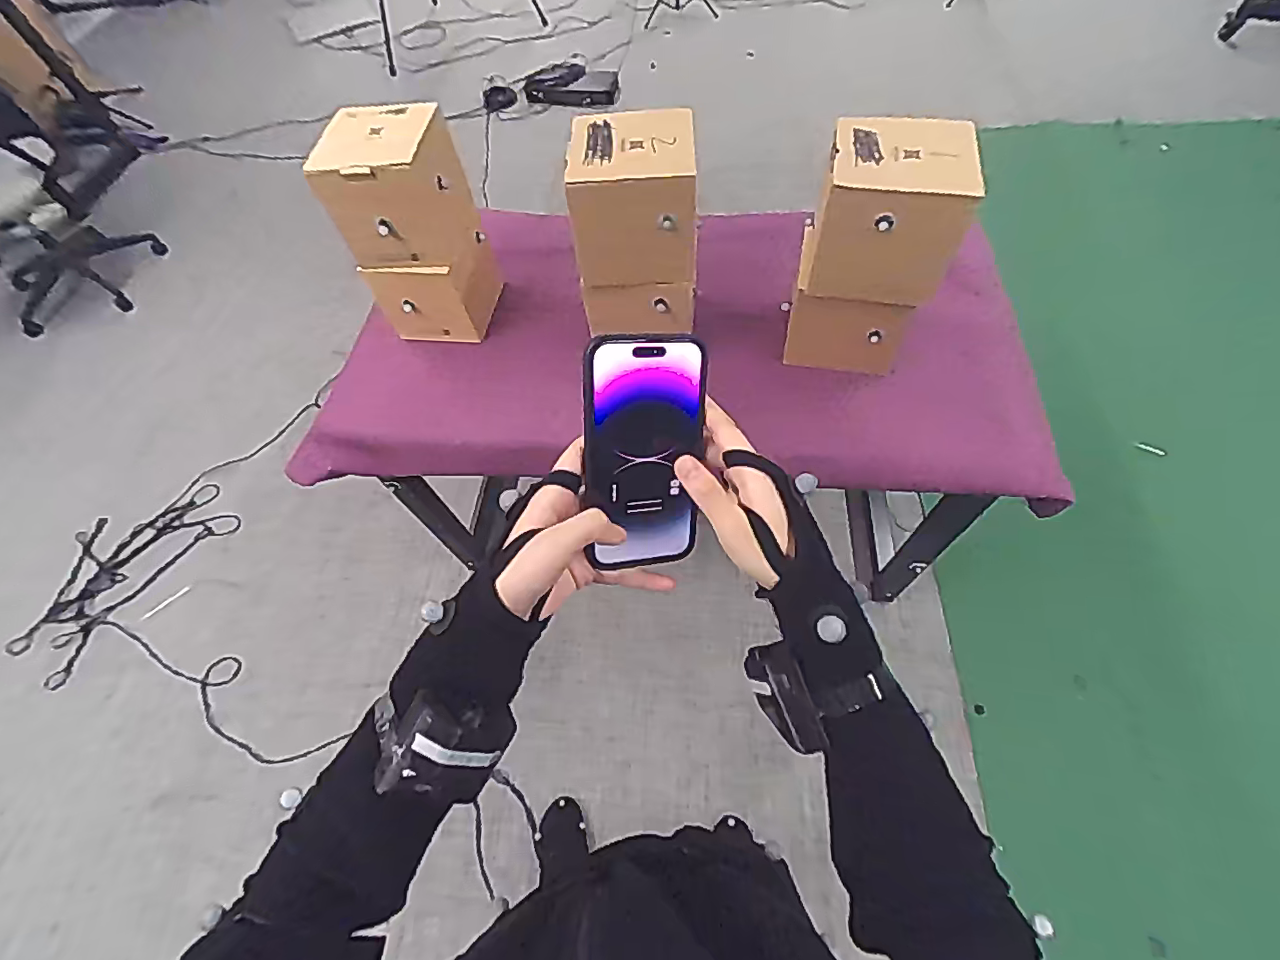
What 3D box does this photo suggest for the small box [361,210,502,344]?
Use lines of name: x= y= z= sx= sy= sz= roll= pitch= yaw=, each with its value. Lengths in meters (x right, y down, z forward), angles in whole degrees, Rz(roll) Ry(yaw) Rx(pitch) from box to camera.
small box: x=-0.375 y=-0.374 z=1.011 sx=0.168 sy=0.176 sz=0.179 roll=4 pitch=60 yaw=8

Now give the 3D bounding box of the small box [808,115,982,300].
small box: x=0.336 y=-0.371 z=0.745 sx=0.179 sy=0.176 sz=0.168 roll=9 pitch=60 yaw=10

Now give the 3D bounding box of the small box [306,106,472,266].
small box: x=-0.389 y=-0.465 z=0.874 sx=0.168 sy=0.176 sz=0.179 roll=0 pitch=60 yaw=5

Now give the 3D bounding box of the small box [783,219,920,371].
small box: x=0.344 y=-0.301 z=0.894 sx=0.179 sy=0.176 sz=0.168 roll=9 pitch=60 yaw=12

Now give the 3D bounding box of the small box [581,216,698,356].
small box: x=0.009 y=-0.334 z=0.946 sx=0.179 sy=0.176 sz=0.168 roll=3 pitch=60 yaw=8
